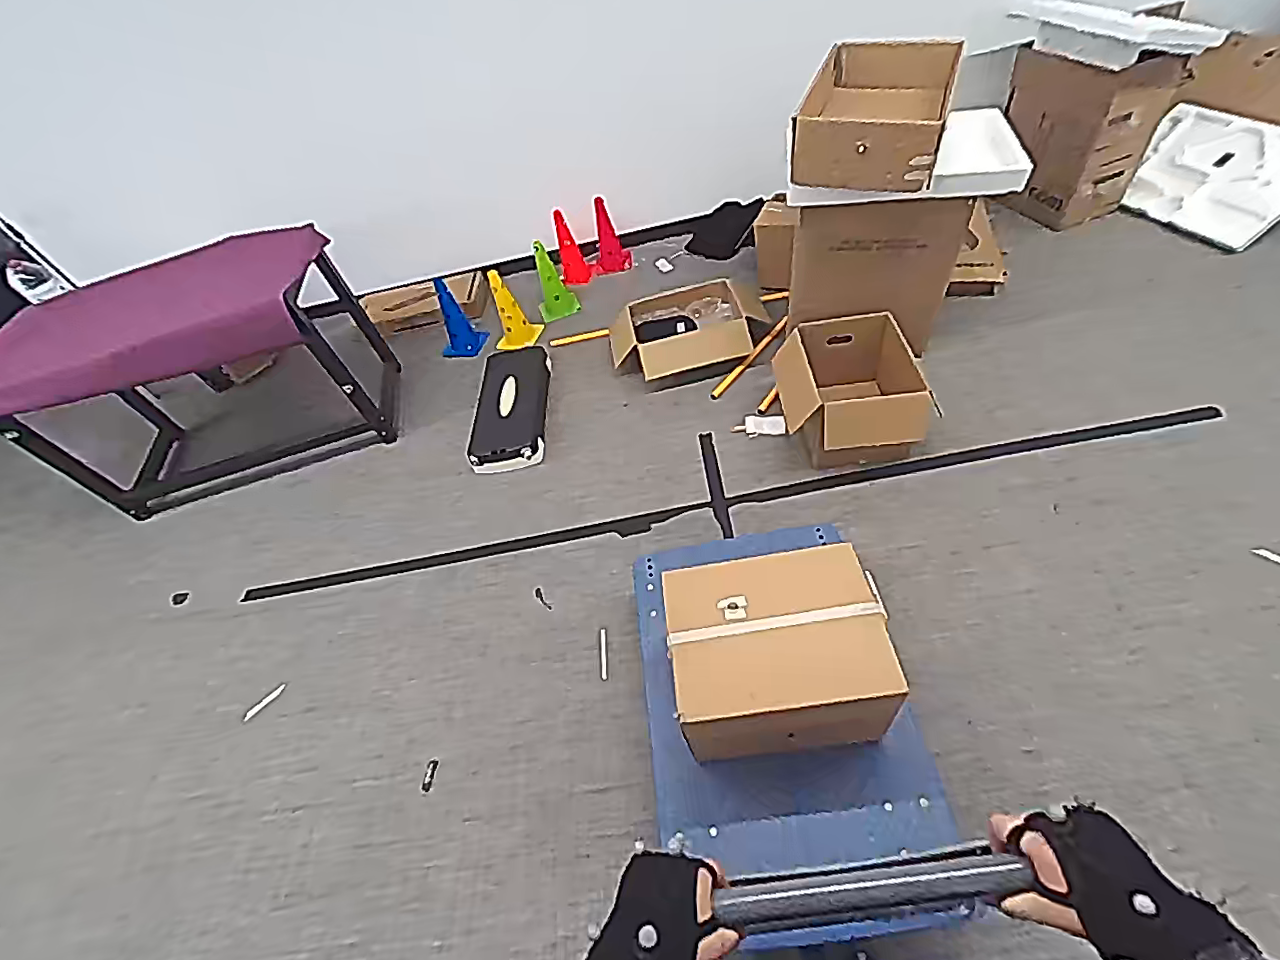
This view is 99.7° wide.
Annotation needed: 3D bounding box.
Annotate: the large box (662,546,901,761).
[{"bbox_3d":[0.283,0.385,1.171,0.408,0.320,0.320,-11,49,6],"label":"large box"}]
